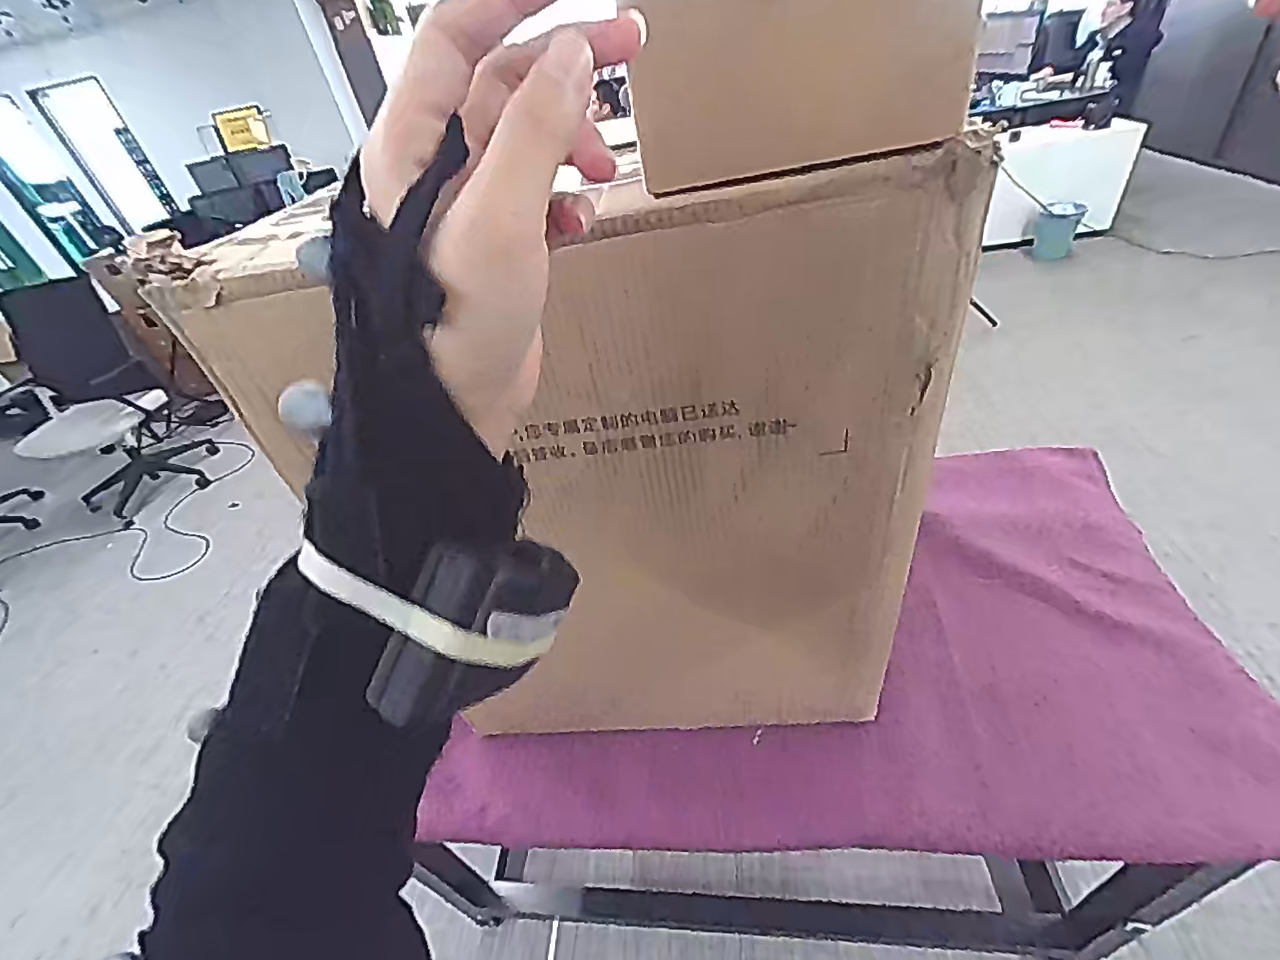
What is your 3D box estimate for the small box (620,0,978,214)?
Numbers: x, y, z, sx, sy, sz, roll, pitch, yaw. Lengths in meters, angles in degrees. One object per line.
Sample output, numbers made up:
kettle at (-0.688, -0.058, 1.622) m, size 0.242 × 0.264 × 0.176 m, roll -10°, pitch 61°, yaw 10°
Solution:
small box at (0.079, -0.276, 0.309) m, size 0.168 × 0.176 × 0.179 m, roll -4°, pitch 40°, yaw 11°
